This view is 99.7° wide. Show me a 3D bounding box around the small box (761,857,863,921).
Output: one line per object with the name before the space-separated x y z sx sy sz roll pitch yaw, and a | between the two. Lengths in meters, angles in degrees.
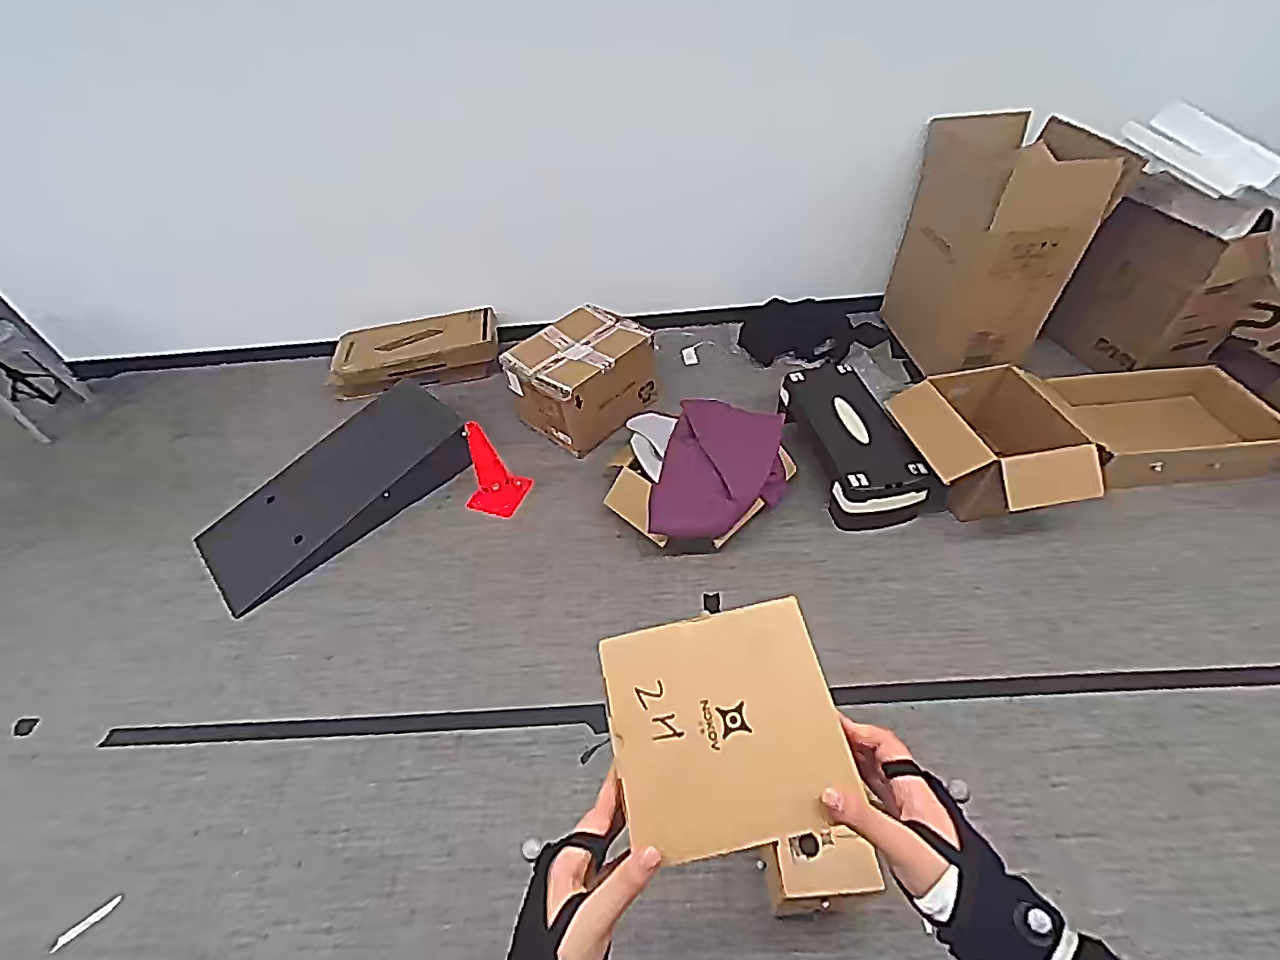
small box | 0.349 0.818 1.144 0.168 0.176 0.179 -5 47 1

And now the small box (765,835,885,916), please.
small box | 0.330 0.707 1.021 0.179 0.176 0.168 -5 47 1

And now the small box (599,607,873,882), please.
small box | 0.070 0.229 0.478 0.179 0.176 0.168 -12 59 0
